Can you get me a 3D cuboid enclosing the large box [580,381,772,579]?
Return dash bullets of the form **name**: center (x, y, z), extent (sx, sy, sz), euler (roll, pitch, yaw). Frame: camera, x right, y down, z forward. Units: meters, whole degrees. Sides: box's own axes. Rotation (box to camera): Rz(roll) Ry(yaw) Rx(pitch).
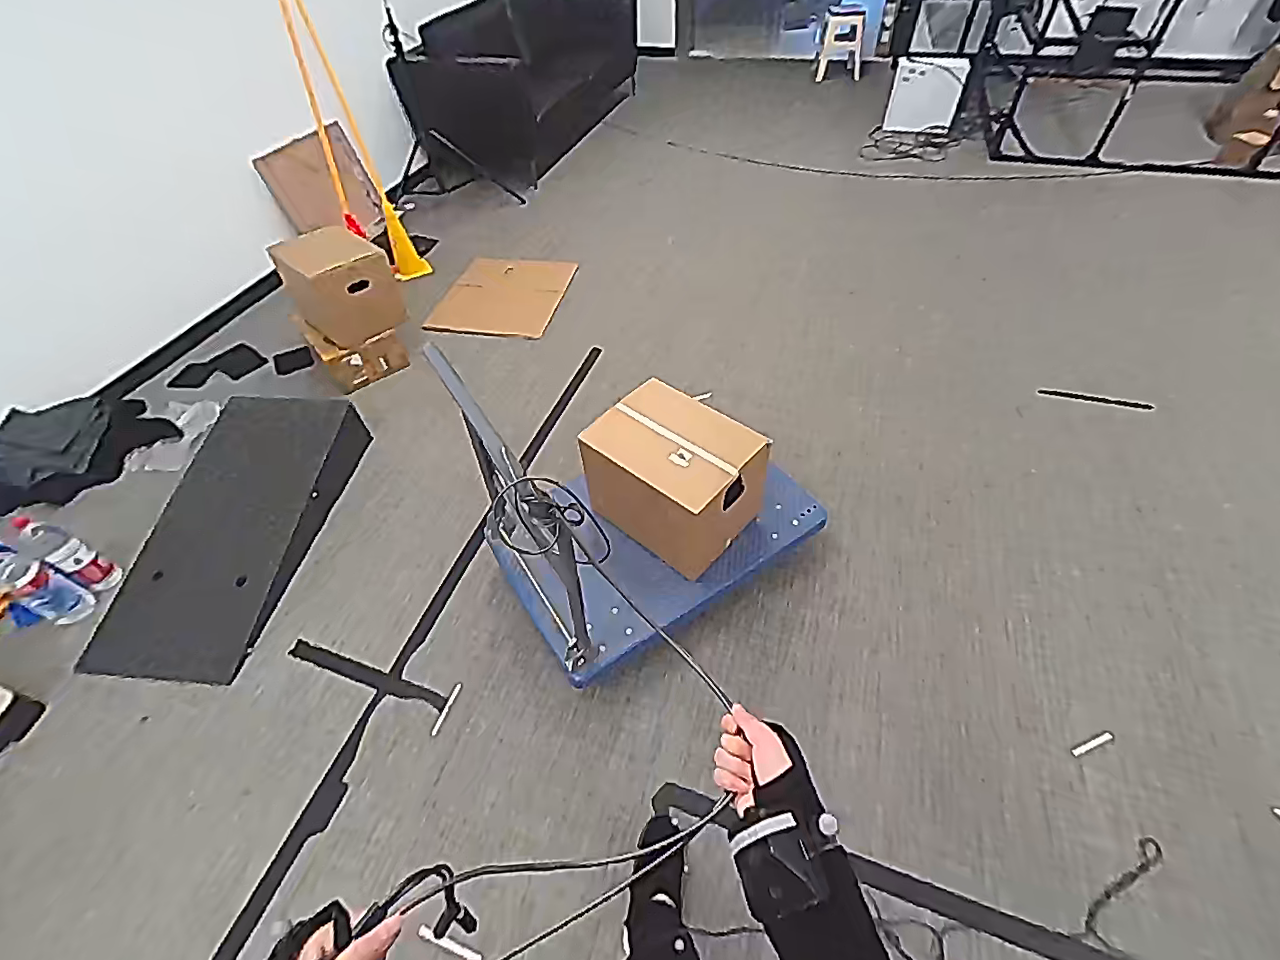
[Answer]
- **large box**: center (0.093, -0.006, 1.501), extent (0.408, 0.320, 0.320), euler (34, 60, 27)
